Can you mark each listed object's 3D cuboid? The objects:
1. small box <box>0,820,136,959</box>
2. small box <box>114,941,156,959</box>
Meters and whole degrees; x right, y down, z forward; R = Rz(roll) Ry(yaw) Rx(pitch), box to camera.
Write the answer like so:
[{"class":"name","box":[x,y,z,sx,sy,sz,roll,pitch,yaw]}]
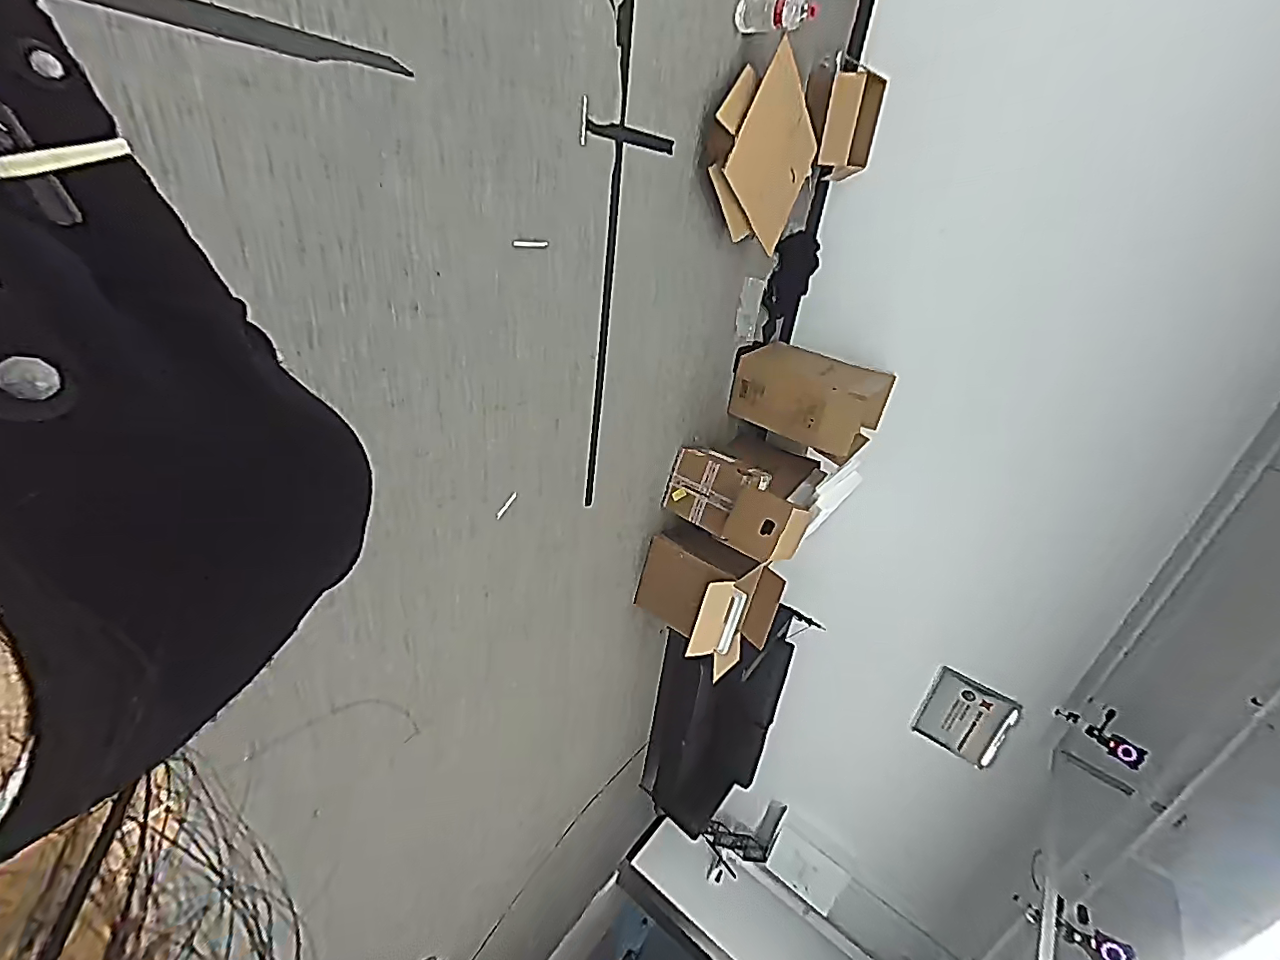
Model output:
[{"class":"small box","box":[-1.157,0.829,1.068,0.179,0.176,0.168,-27,132,-46]},{"class":"small box","box":[-0.898,0.951,0.906,0.179,0.176,0.168,-23,131,-49]}]
